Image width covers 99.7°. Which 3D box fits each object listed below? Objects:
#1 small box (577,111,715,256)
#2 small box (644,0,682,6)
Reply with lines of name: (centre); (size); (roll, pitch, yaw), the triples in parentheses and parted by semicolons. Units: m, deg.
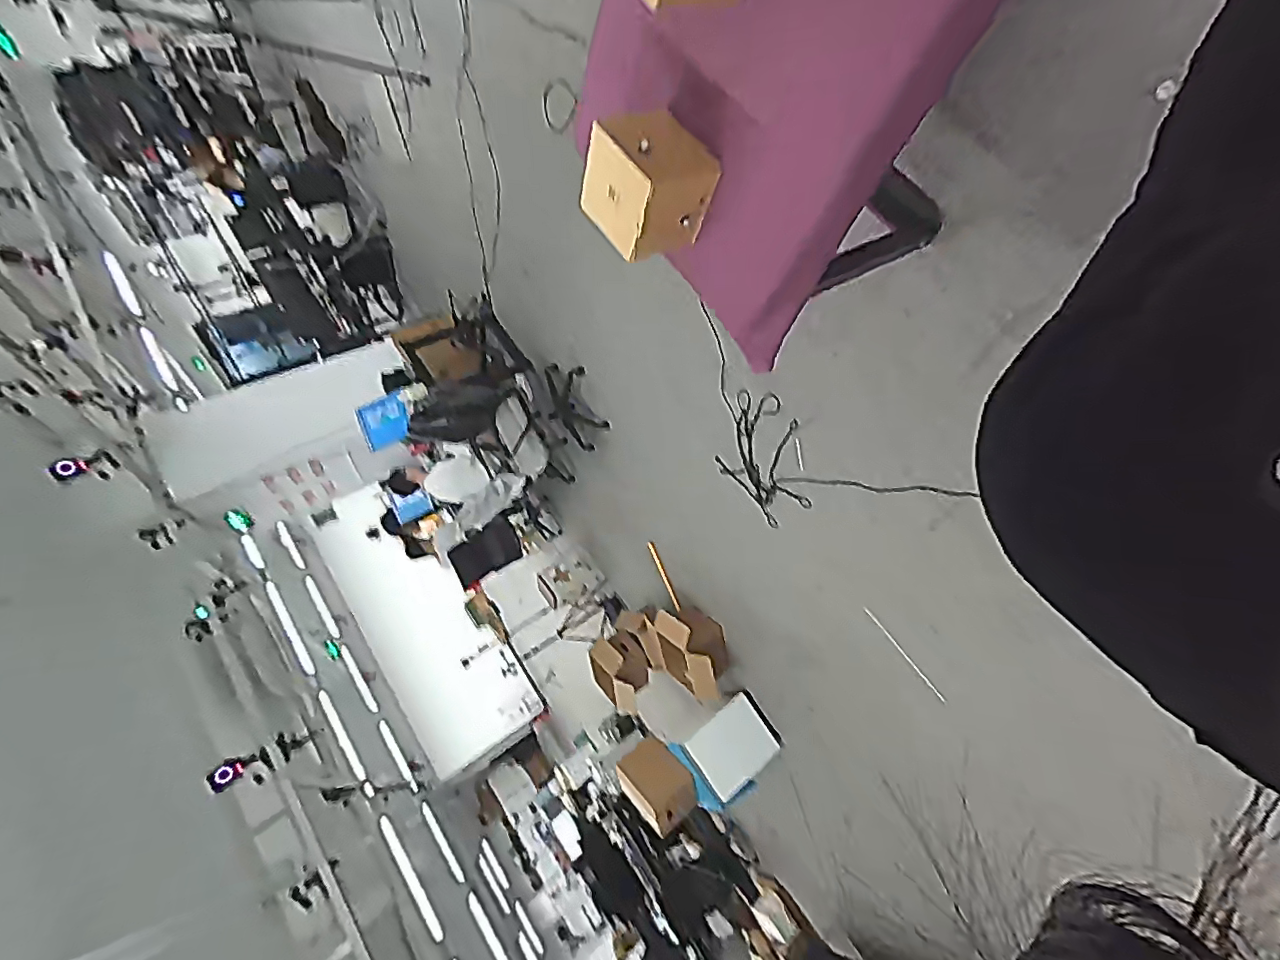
small box: (0.008, -0.561, 1.018); (0.179, 0.176, 0.168); (52, 152, 14)
small box: (0.055, -0.782, 0.713); (0.179, 0.176, 0.168); (57, 153, 6)
